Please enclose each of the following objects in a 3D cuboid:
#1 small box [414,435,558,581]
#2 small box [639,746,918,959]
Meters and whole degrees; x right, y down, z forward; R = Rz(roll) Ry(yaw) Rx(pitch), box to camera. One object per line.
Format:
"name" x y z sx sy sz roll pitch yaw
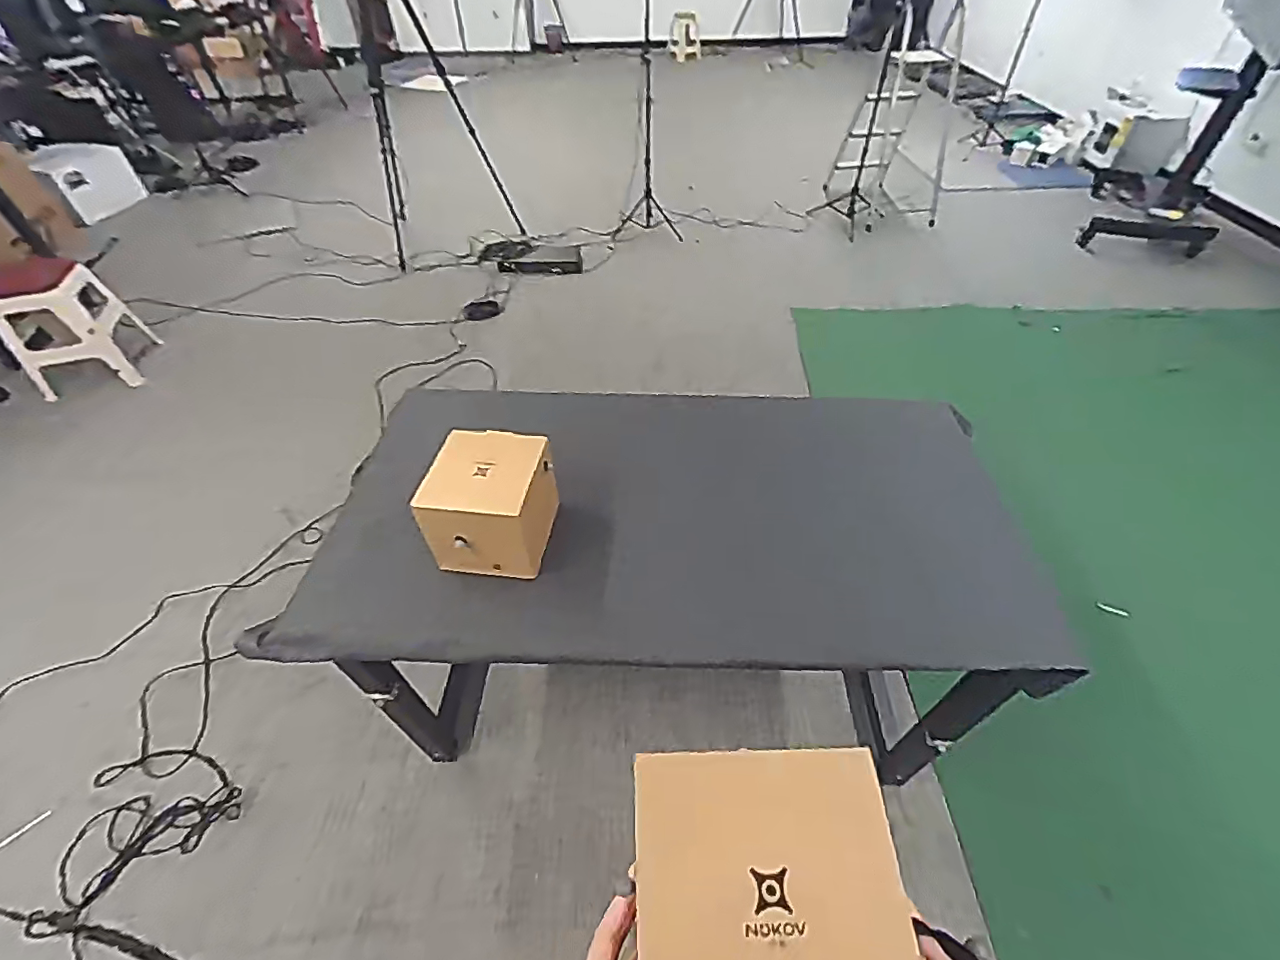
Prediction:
"small box" -0.240 0.048 0.898 0.168 0.176 0.179 5 45 6
"small box" 0.083 0.307 0.396 0.168 0.176 0.179 -1 54 2
